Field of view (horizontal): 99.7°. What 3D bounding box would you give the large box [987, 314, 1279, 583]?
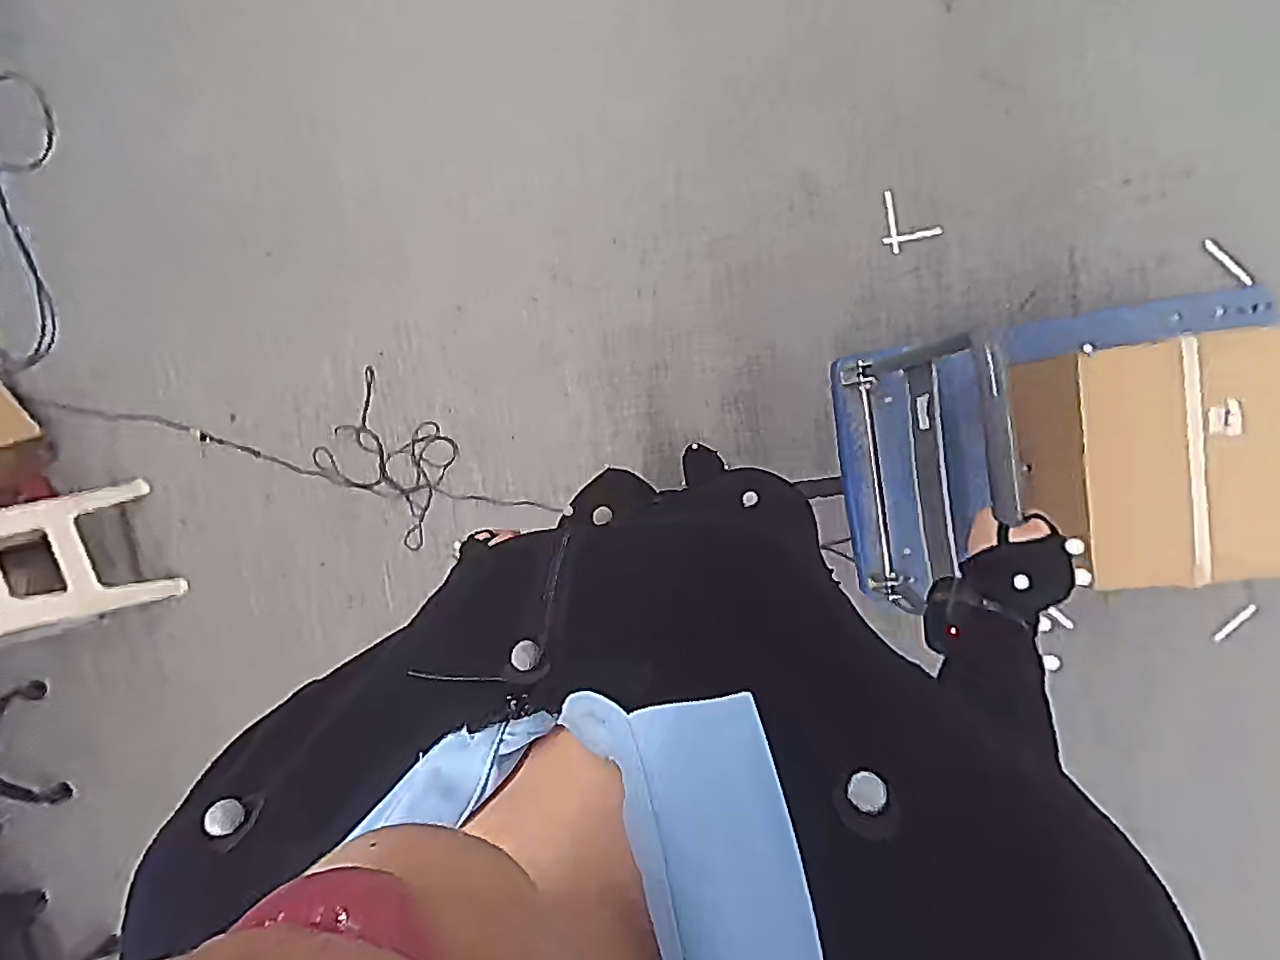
[{"bbox_3d":[0.905,-0.051,1.016,0.320,0.320,0.408,-8,93,8],"label":"large box"}]
